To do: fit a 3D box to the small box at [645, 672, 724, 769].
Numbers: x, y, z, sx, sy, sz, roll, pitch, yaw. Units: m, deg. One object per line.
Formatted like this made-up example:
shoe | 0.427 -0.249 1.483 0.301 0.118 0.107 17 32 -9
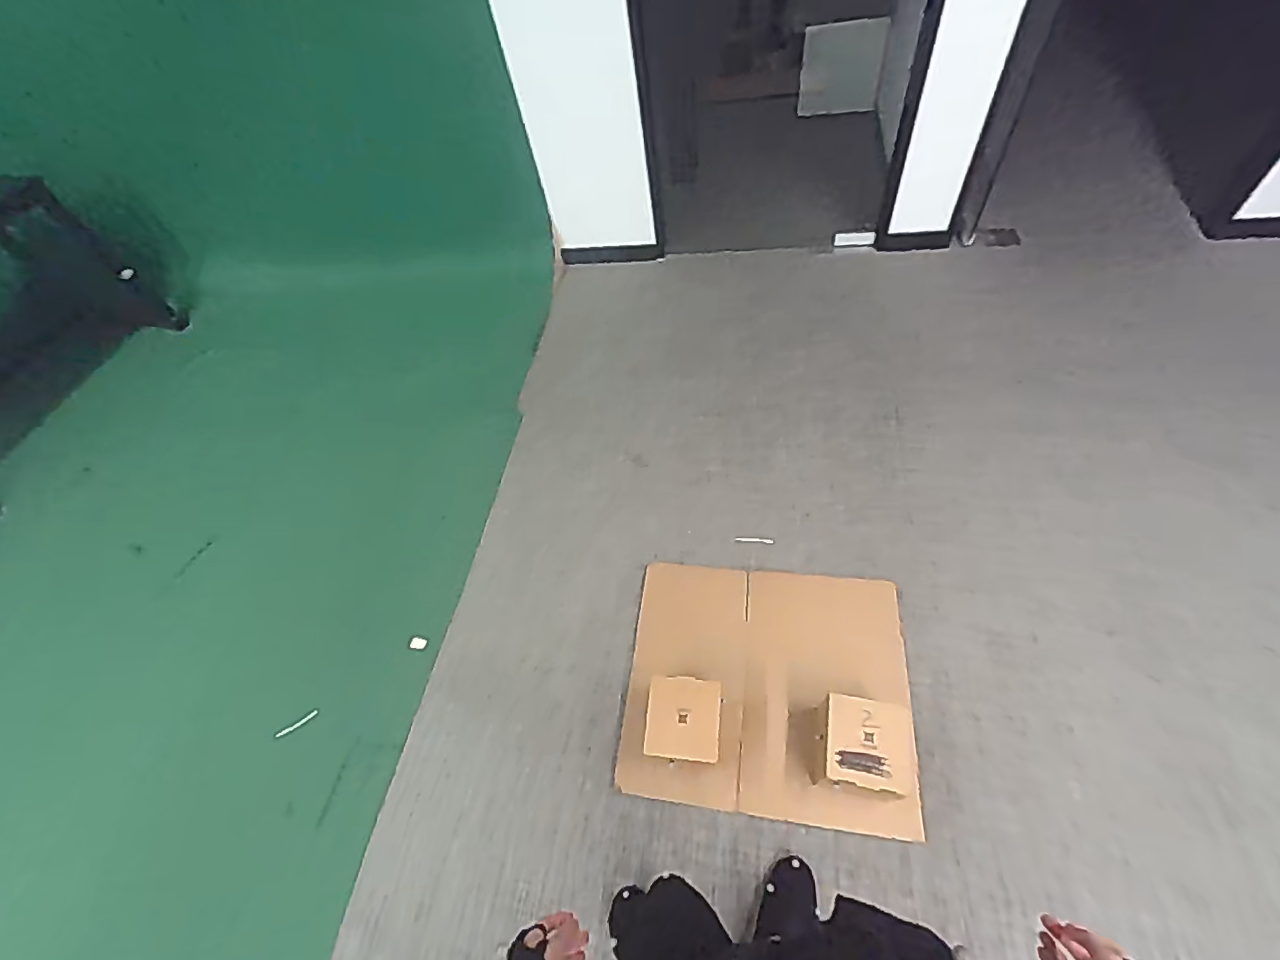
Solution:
small box | 0.112 0.572 1.280 0.168 0.176 0.179 1 55 10
